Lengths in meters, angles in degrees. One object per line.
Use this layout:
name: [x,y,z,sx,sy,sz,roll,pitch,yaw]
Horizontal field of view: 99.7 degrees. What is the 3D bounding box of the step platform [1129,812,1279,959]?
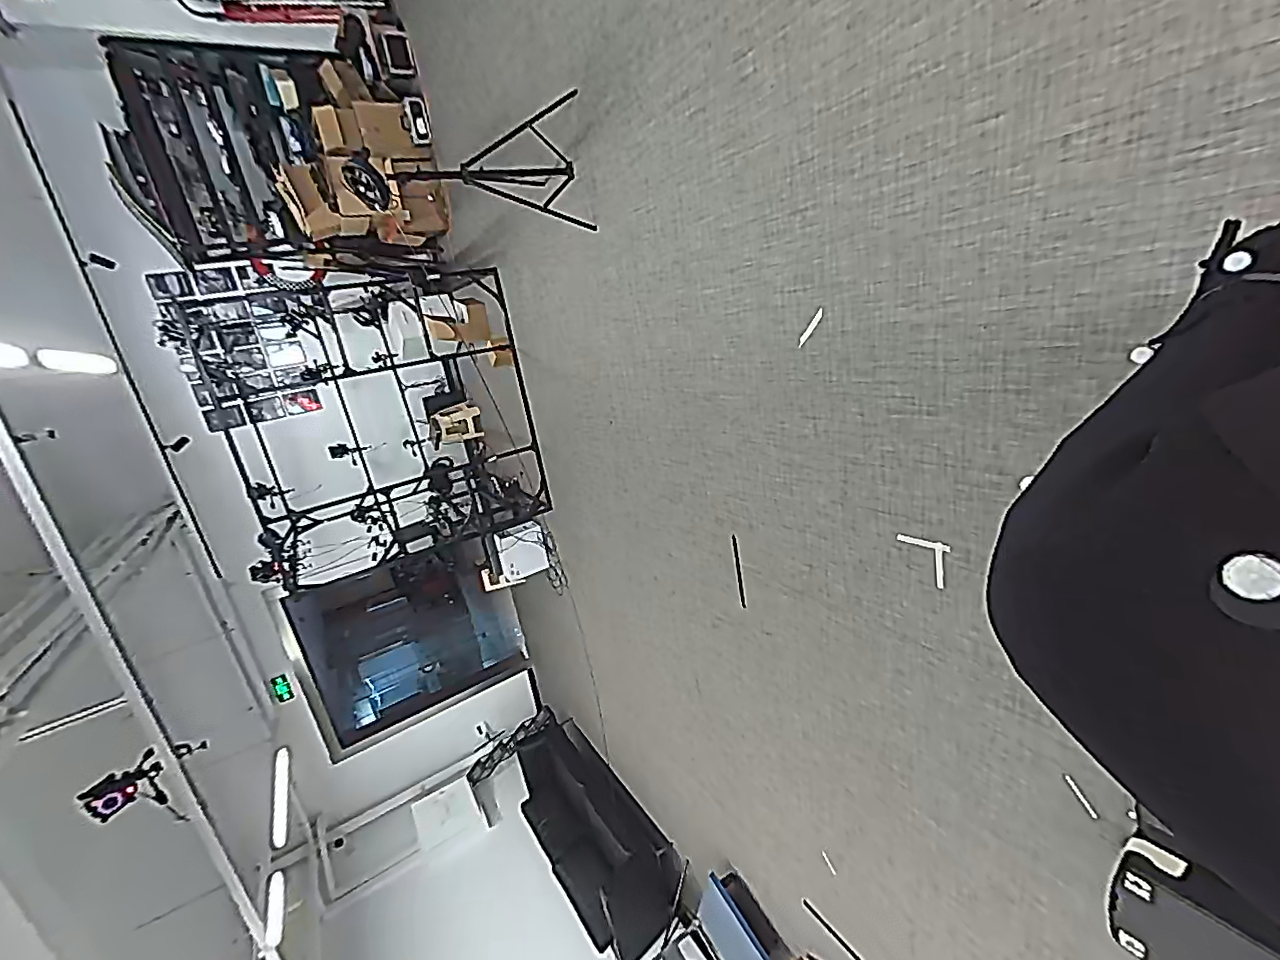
step platform: [1.432,1.024,1.075,0.684,0.204,0.286,17,122,58]
